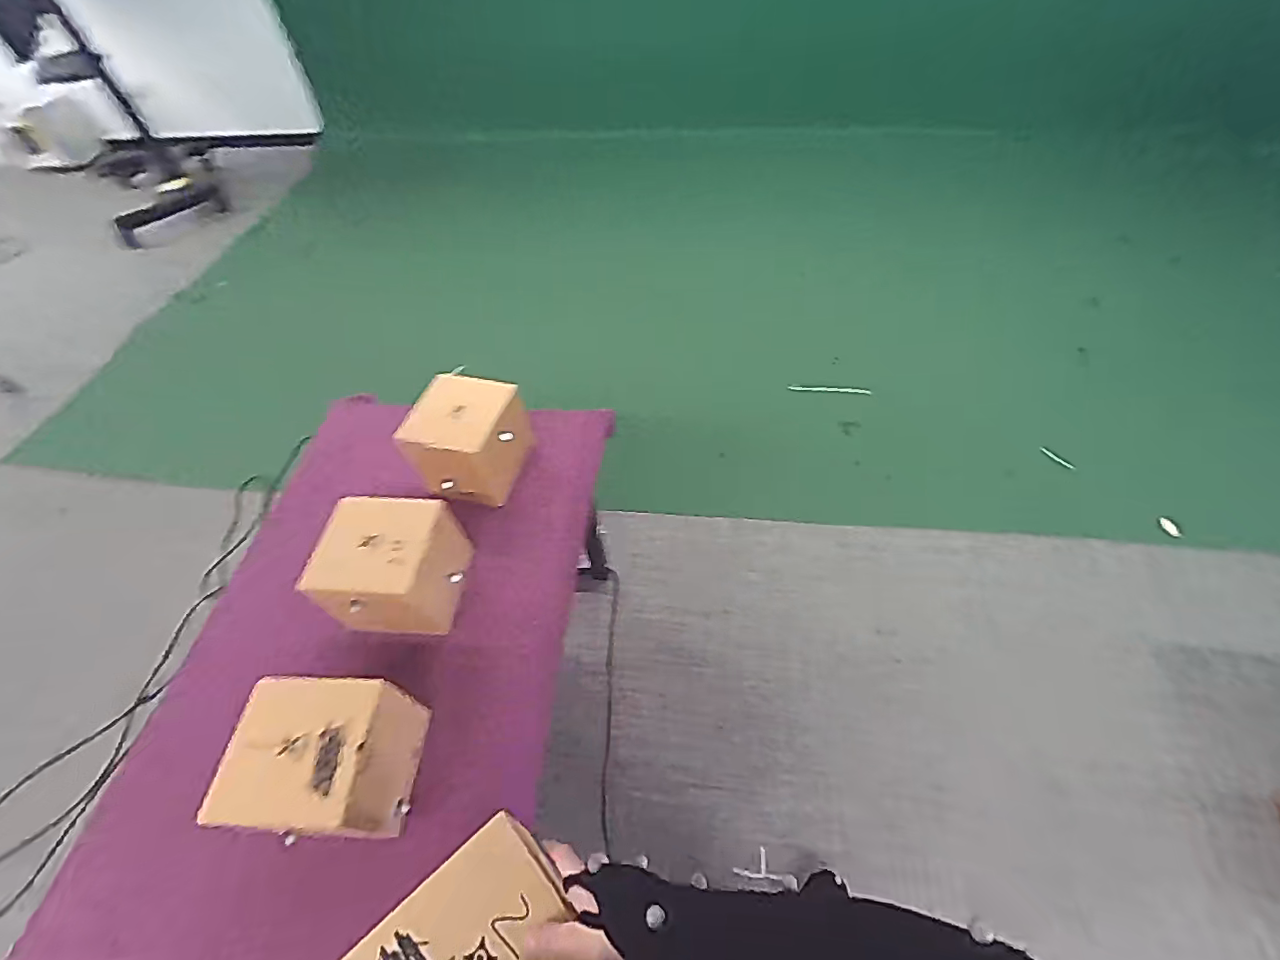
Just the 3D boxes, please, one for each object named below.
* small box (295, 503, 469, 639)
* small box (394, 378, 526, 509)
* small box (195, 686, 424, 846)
[{"bbox_3d":[-0.411,0.153,0.896,0.179,0.176,0.168,2,54,6],"label":"small box"},{"bbox_3d":[-0.336,-0.070,1.058,0.168,0.176,0.179,10,56,12],"label":"small box"},{"bbox_3d":[-0.418,0.385,0.725,0.179,0.176,0.168,-1,53,5],"label":"small box"}]
